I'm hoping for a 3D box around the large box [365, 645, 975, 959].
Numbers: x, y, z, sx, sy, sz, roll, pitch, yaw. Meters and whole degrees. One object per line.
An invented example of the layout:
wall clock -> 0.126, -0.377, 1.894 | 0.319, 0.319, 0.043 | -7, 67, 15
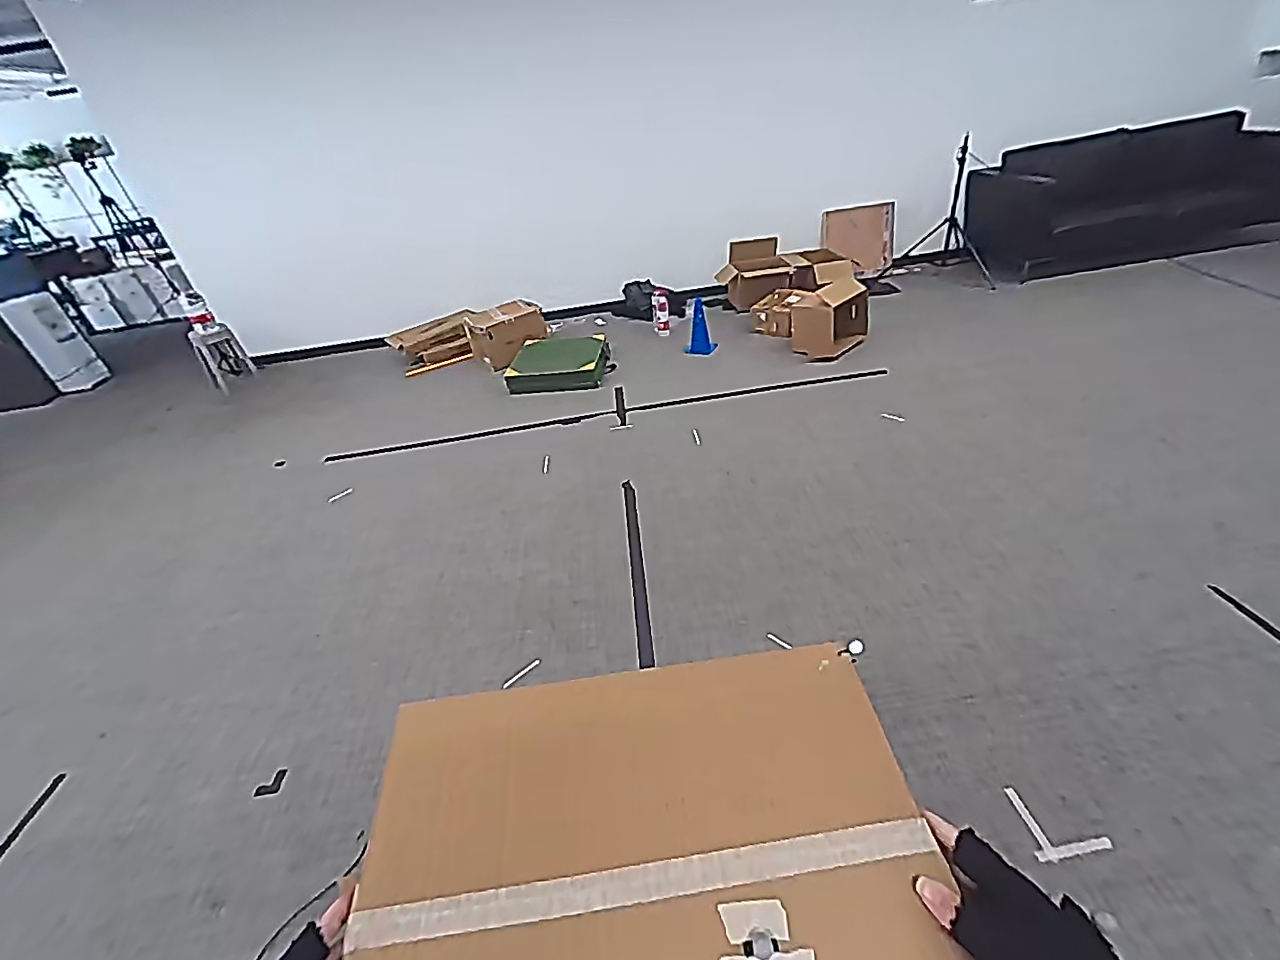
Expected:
large box -> 0.015, 0.392, 0.488 | 0.408, 0.320, 0.320 | -7, 43, -4
